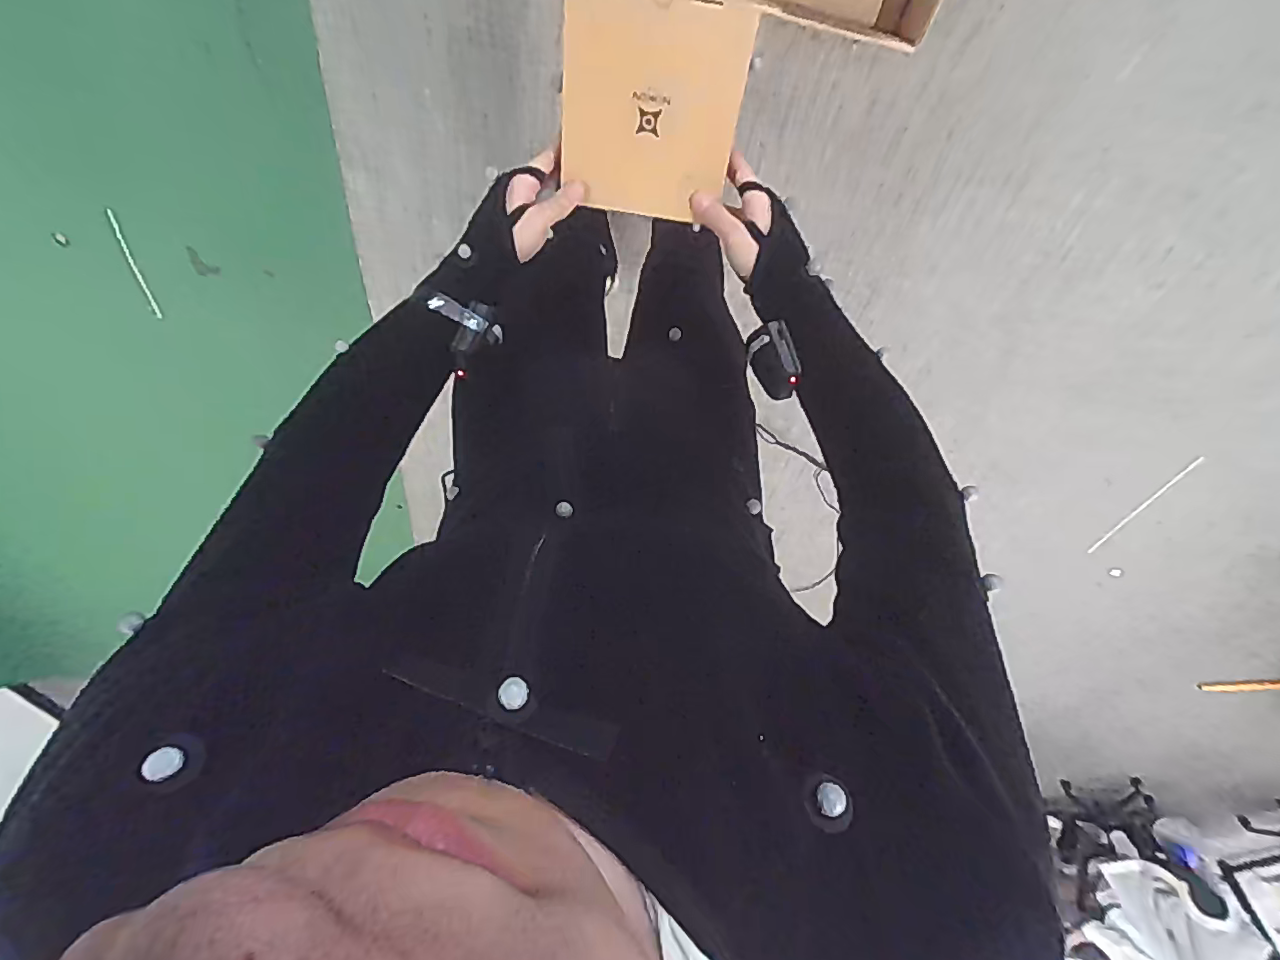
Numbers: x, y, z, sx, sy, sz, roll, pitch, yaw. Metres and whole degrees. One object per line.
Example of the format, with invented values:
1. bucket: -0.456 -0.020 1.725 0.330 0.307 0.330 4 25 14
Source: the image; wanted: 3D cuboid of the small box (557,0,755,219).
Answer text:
1. small box: 0.013 -0.398 0.556 0.168 0.176 0.179 8 133 -1
